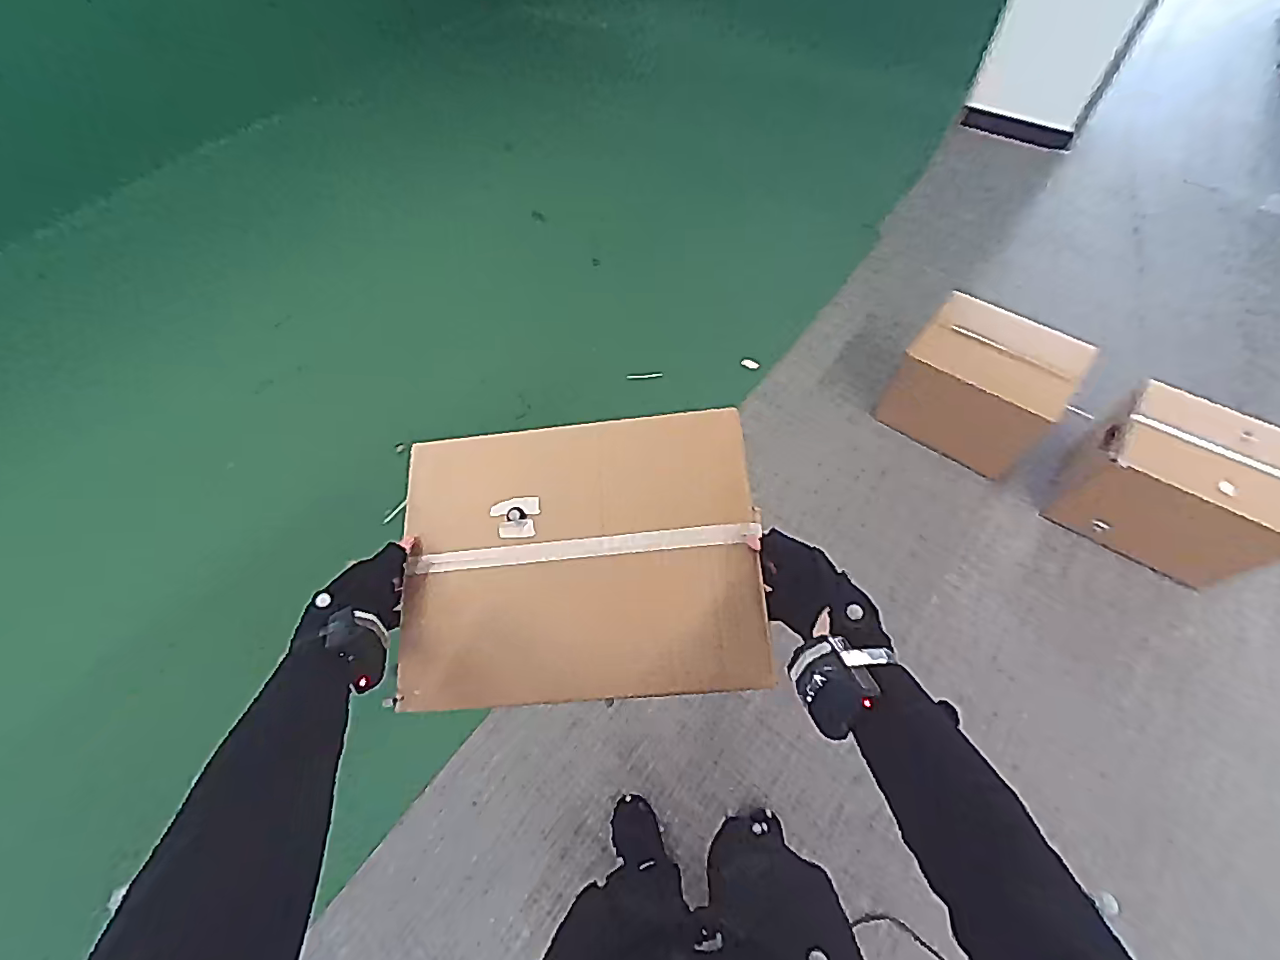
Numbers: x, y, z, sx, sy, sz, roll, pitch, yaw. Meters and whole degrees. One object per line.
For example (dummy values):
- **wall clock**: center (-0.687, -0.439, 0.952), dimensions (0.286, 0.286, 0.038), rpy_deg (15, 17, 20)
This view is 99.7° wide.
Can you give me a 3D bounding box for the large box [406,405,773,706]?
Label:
- **large box**: center (-0.049, 0.122, 0.753), dimensions (0.408, 0.320, 0.320), rpy_deg (-6, 71, 7)
